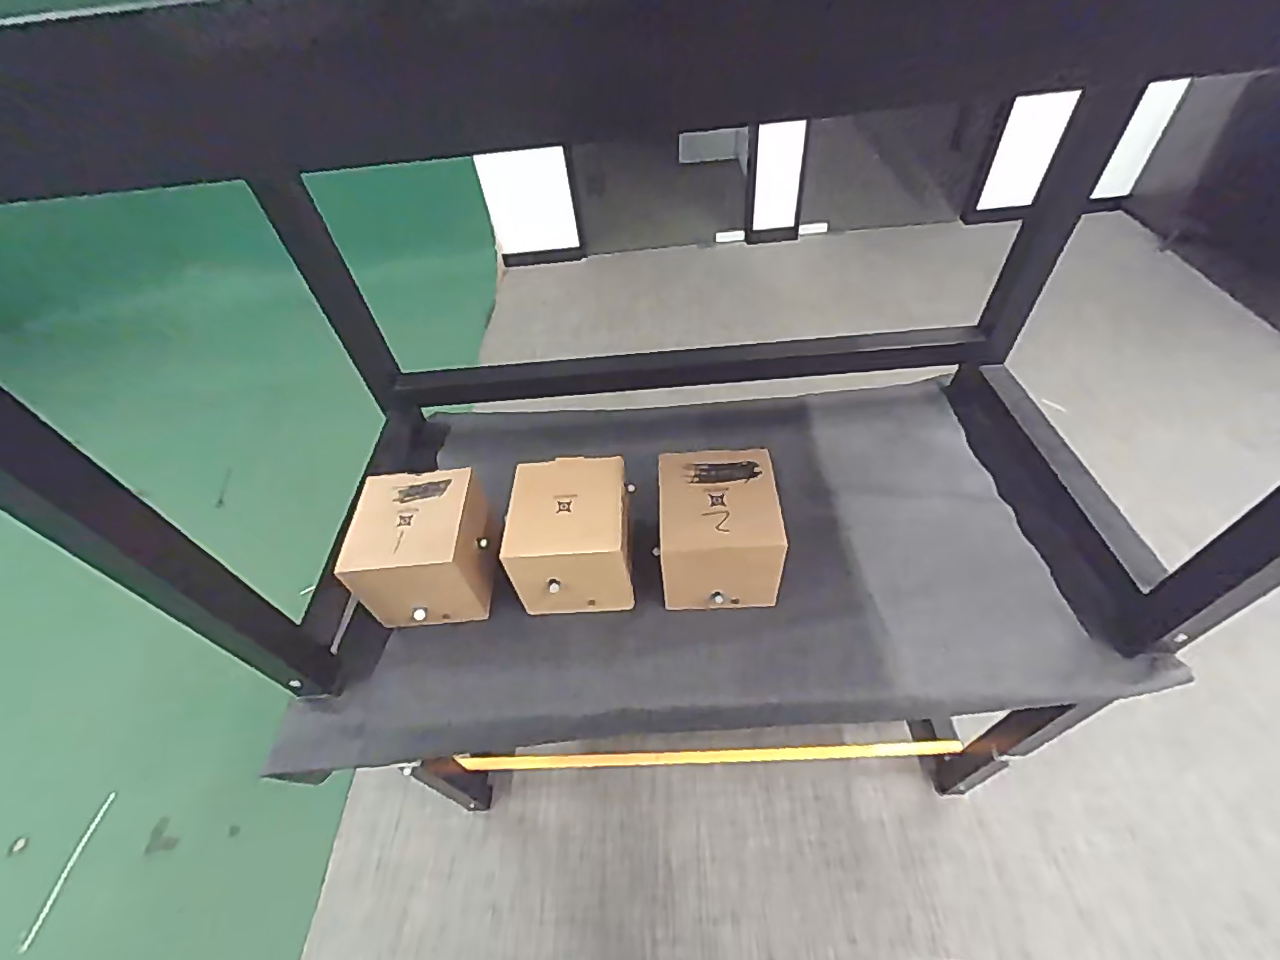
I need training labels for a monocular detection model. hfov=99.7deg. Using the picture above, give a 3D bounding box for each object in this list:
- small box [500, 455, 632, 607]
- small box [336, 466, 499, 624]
[{"bbox_3d":[-0.100,0.084,0.830,0.168,0.176,0.179,-3,48,3],"label":"small box"},{"bbox_3d":[-0.327,0.101,0.838,0.168,0.176,0.179,-5,49,2],"label":"small box"}]
